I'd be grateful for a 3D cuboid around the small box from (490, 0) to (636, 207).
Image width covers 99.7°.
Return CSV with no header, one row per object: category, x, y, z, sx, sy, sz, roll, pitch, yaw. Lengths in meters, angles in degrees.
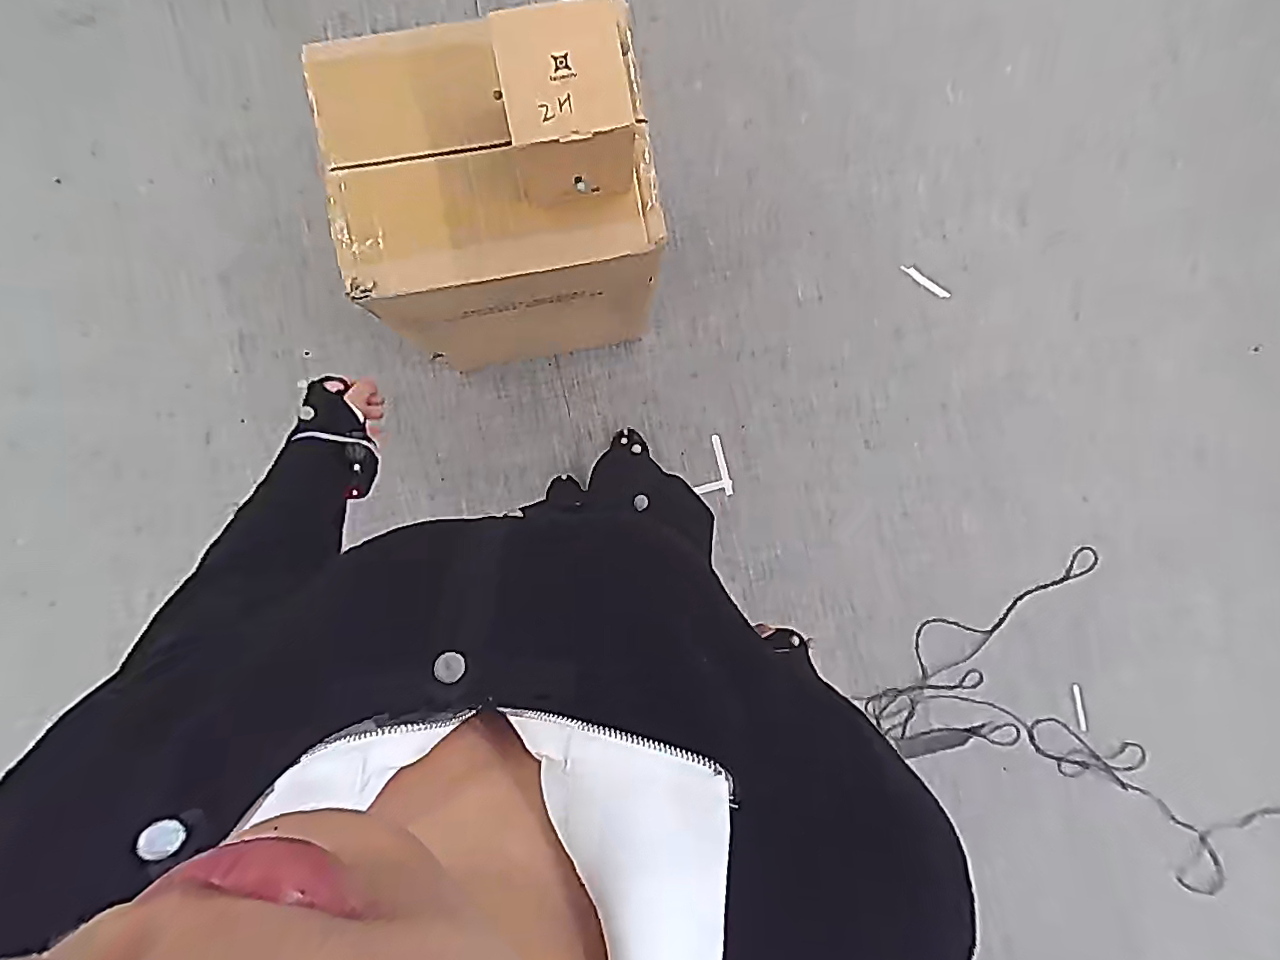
small box,-0.106,-0.533,0.787,0.168,0.176,0.179,-11,93,-2
